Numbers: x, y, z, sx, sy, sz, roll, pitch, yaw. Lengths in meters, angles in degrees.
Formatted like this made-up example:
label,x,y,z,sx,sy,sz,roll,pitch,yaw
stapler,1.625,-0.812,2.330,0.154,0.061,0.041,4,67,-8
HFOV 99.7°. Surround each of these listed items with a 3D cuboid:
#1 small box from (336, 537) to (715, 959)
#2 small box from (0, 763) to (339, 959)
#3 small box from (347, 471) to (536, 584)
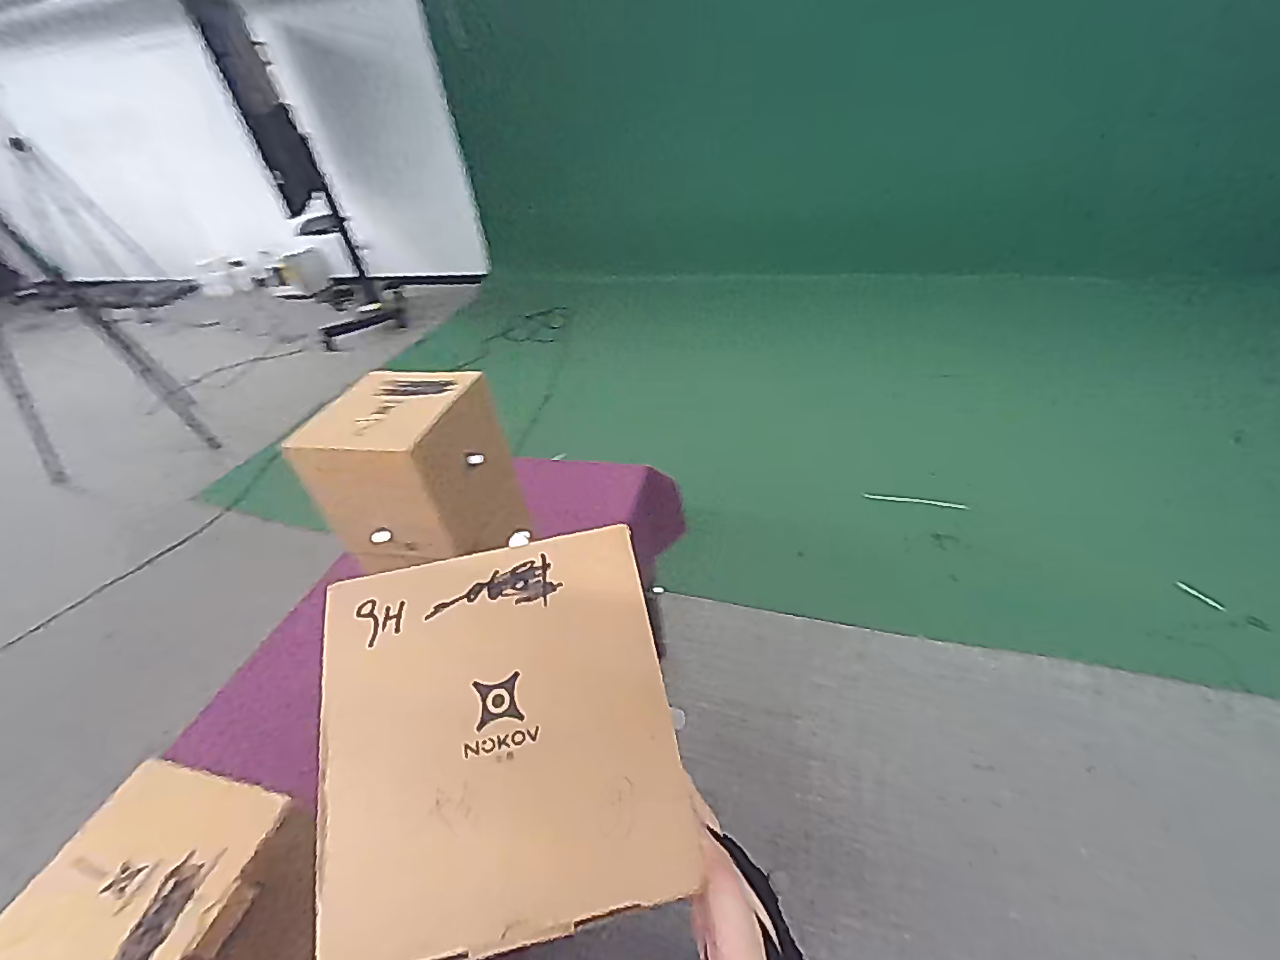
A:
label,x,y,z,sx,sy,sz,roll,pitch,yaw
small box,-0.061,0.155,0.334,0.168,0.176,0.179,-10,65,-6
small box,-0.385,0.382,0.469,0.179,0.176,0.168,3,39,16
small box,-0.272,0.107,0.793,0.179,0.176,0.168,3,39,15
